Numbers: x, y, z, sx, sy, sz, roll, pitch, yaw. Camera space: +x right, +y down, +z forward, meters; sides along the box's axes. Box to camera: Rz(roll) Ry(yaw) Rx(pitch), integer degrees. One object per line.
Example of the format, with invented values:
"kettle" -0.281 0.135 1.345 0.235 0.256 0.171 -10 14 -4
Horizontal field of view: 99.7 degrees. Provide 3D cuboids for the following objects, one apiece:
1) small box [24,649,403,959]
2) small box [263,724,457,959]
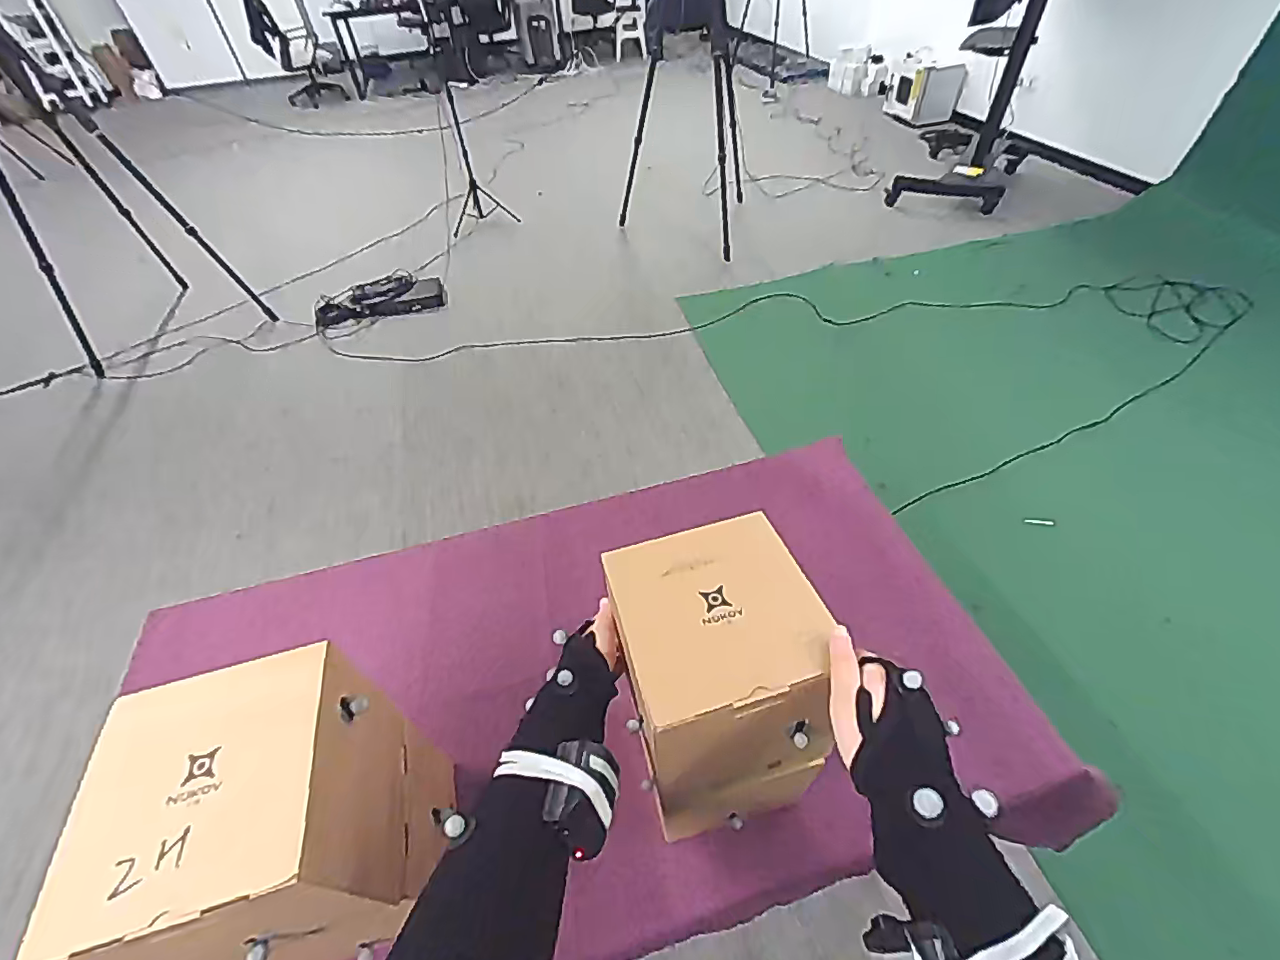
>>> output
"small box" -0.311 0.275 0.449 0.168 0.176 0.179 -15 49 -8
"small box" -0.301 0.389 0.569 0.179 0.176 0.168 -15 48 -10
